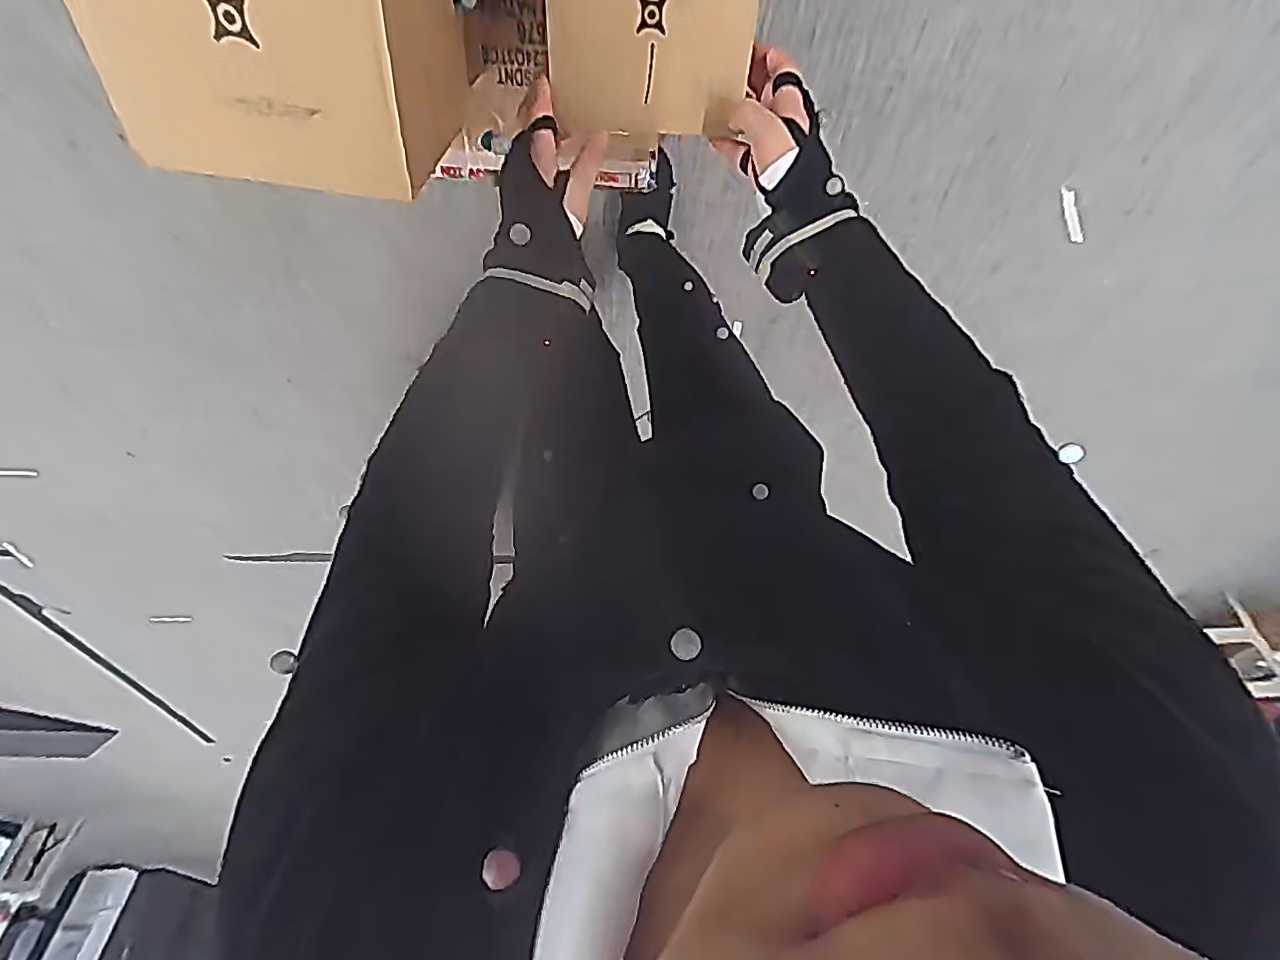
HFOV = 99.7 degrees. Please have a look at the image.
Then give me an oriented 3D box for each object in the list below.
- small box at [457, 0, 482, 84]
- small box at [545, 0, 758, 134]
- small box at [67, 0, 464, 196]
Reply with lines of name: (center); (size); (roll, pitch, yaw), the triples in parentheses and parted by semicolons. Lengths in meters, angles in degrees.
small box: (-0.230, -0.433, 0.441); (0.168, 0.176, 0.179); (4, 137, -7)
small box: (0.001, -0.419, 0.466); (0.168, 0.176, 0.179); (-1, 132, -6)
small box: (-0.215, -0.309, 0.335); (0.168, 0.176, 0.179); (5, 137, -6)
